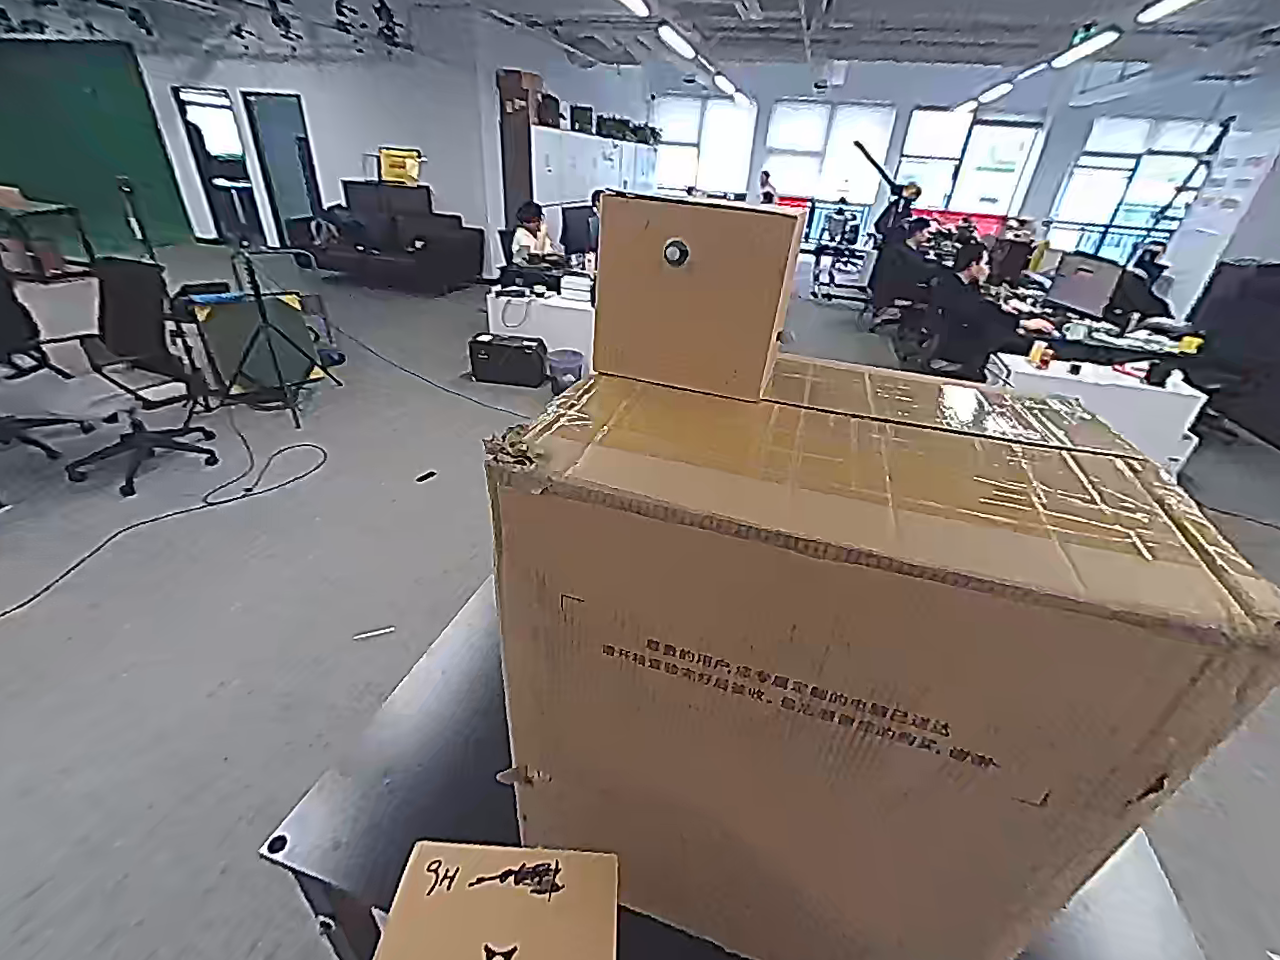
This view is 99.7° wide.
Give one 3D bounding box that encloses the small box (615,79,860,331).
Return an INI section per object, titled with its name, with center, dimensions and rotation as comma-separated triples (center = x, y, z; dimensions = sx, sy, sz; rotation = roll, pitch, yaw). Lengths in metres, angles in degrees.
[small box]
center = 0.085, -0.241, 0.491
dimensions = 0.179, 0.176, 0.168
rotation = 13, 30, 12
